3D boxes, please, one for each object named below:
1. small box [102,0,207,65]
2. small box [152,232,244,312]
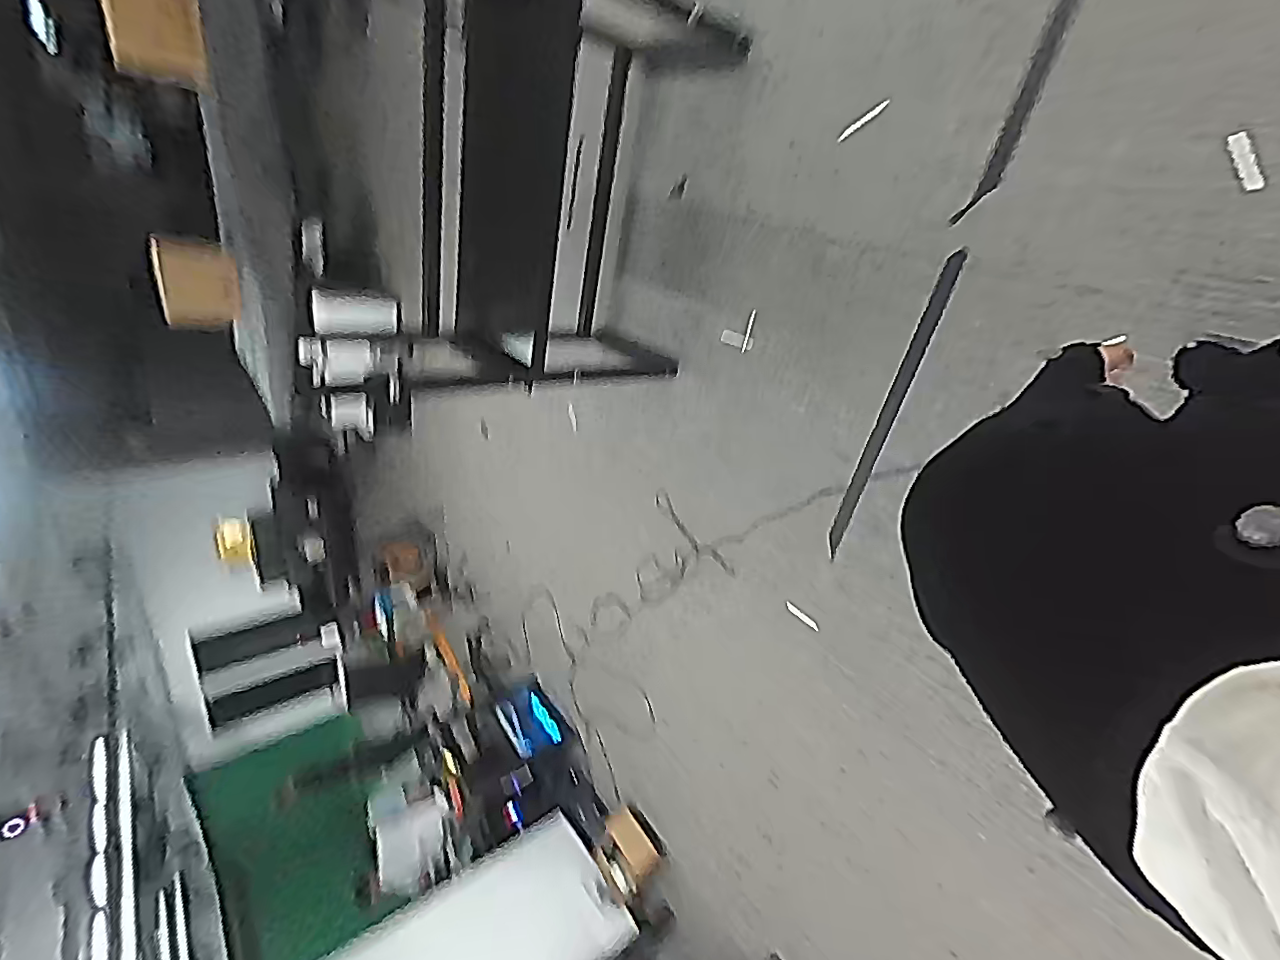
[{"bbox_3d":[-1.125,-1.084,1.249,0.179,0.176,0.168,35,125,39],"label":"small box"},{"bbox_3d":[-1.225,-0.575,1.503,0.168,0.176,0.179,34,123,40],"label":"small box"}]
